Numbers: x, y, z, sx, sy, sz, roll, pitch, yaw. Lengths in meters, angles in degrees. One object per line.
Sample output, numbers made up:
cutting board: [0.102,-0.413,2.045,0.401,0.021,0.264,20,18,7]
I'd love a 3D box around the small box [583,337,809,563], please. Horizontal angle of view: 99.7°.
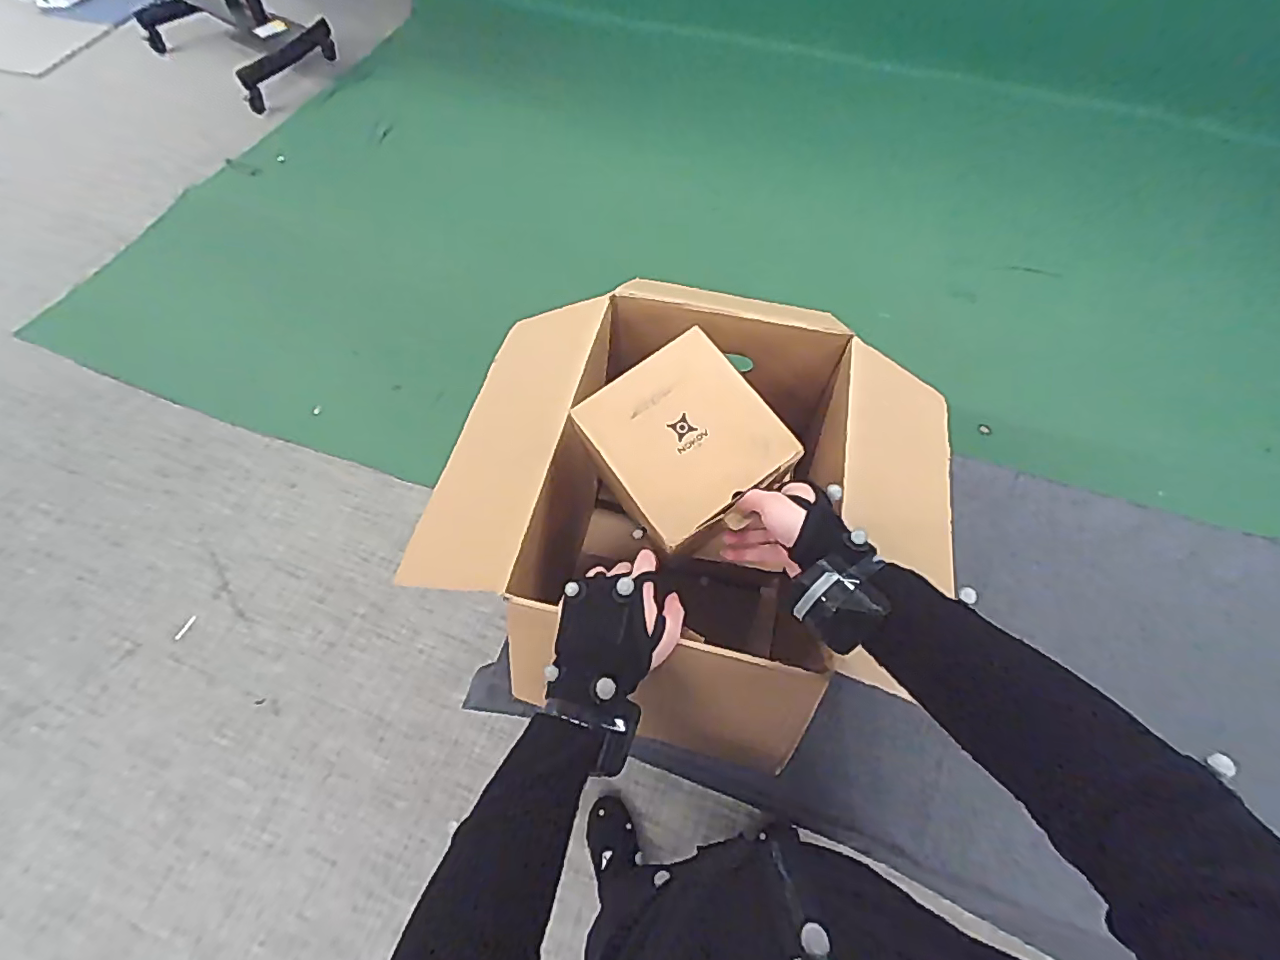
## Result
small box: [0.059,-0.020,0.620,0.168,0.176,0.179,-34,73,-8]
